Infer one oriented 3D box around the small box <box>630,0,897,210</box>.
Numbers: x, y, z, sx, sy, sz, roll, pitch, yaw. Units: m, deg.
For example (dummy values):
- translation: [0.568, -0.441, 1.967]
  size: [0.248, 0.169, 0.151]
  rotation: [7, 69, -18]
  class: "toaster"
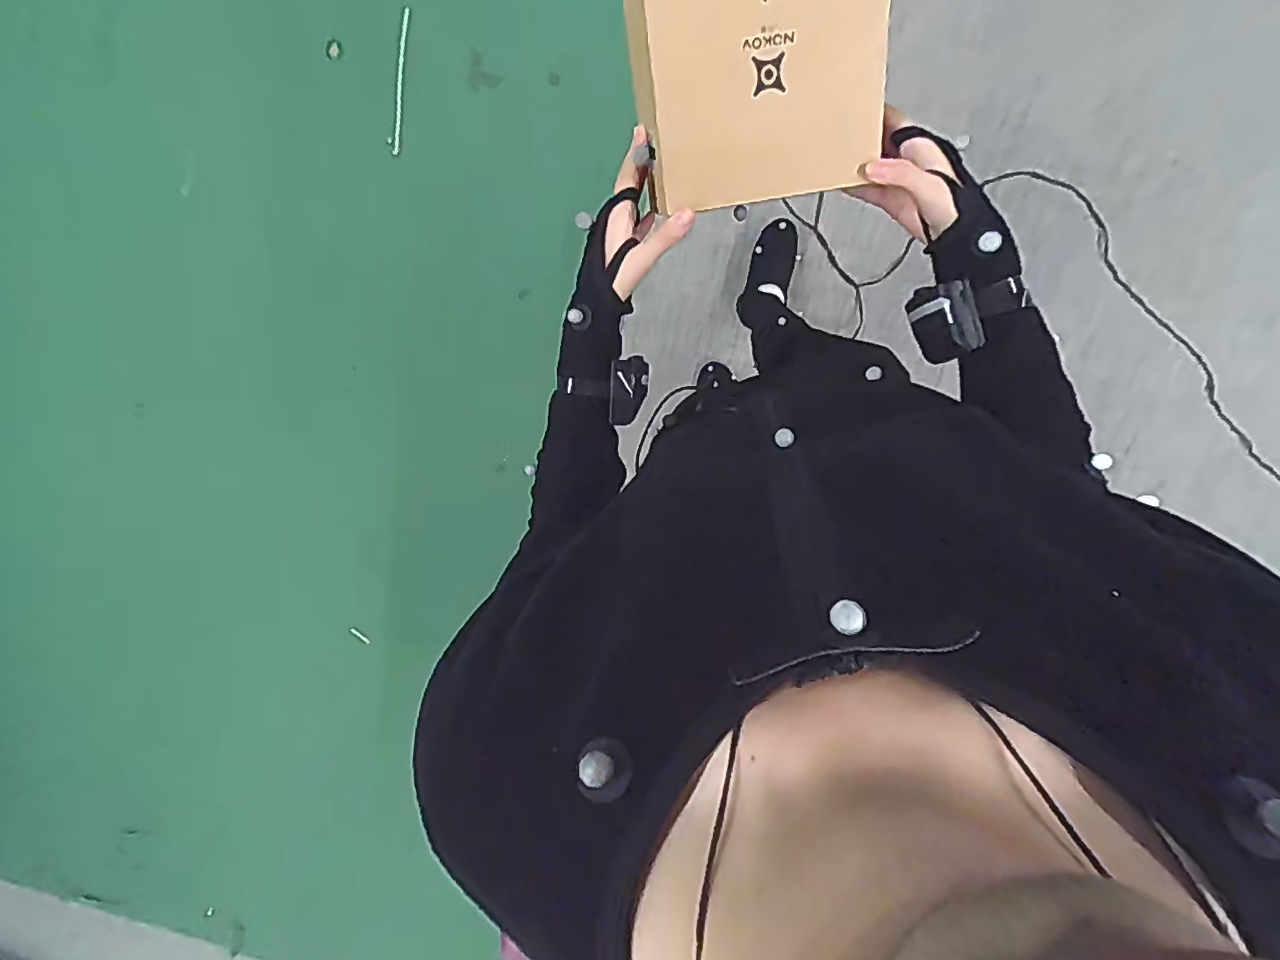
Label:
- translation: [0.086, -0.328, 0.438]
  size: [0.168, 0.176, 0.179]
  rotation: [-9, 117, 0]
  class: "small box"
